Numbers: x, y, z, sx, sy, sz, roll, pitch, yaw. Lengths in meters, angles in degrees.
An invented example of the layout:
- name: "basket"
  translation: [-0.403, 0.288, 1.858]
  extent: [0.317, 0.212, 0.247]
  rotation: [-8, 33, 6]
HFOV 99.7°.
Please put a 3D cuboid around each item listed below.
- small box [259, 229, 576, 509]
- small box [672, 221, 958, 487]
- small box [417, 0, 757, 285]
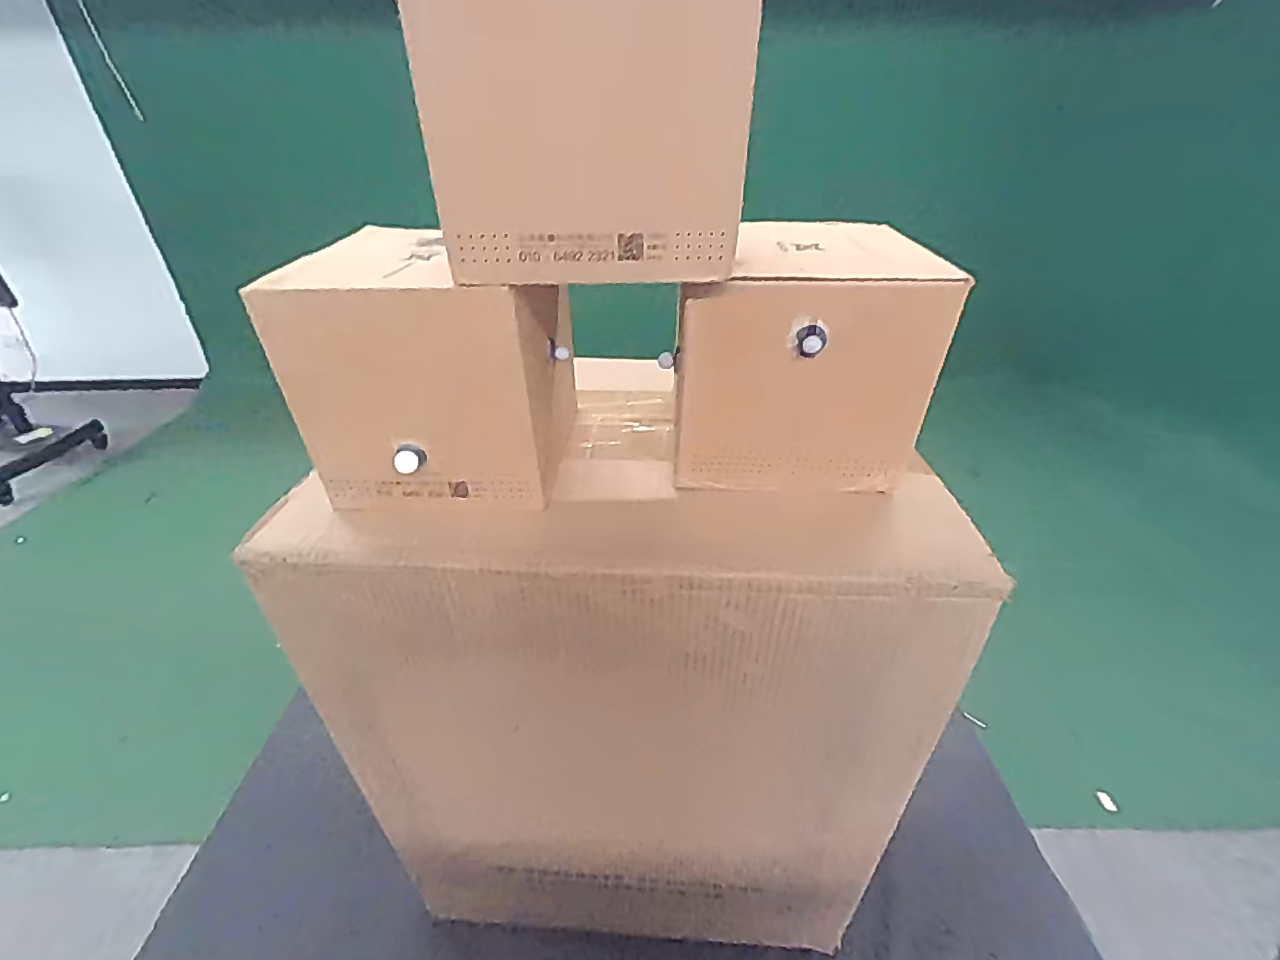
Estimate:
- name: "small box"
  translation: [-0.147, -0.096, 0.438]
  extent: [0.168, 0.176, 0.179]
  rotation: [1, 36, 3]
- name: "small box"
  translation: [0.116, -0.107, 0.448]
  extent: [0.179, 0.176, 0.168]
  rotation: [3, 36, 1]
- name: "small box"
  translation: [-0.031, -0.233, 0.344]
  extent: [0.168, 0.176, 0.179]
  rotation: [-1, 35, -2]
